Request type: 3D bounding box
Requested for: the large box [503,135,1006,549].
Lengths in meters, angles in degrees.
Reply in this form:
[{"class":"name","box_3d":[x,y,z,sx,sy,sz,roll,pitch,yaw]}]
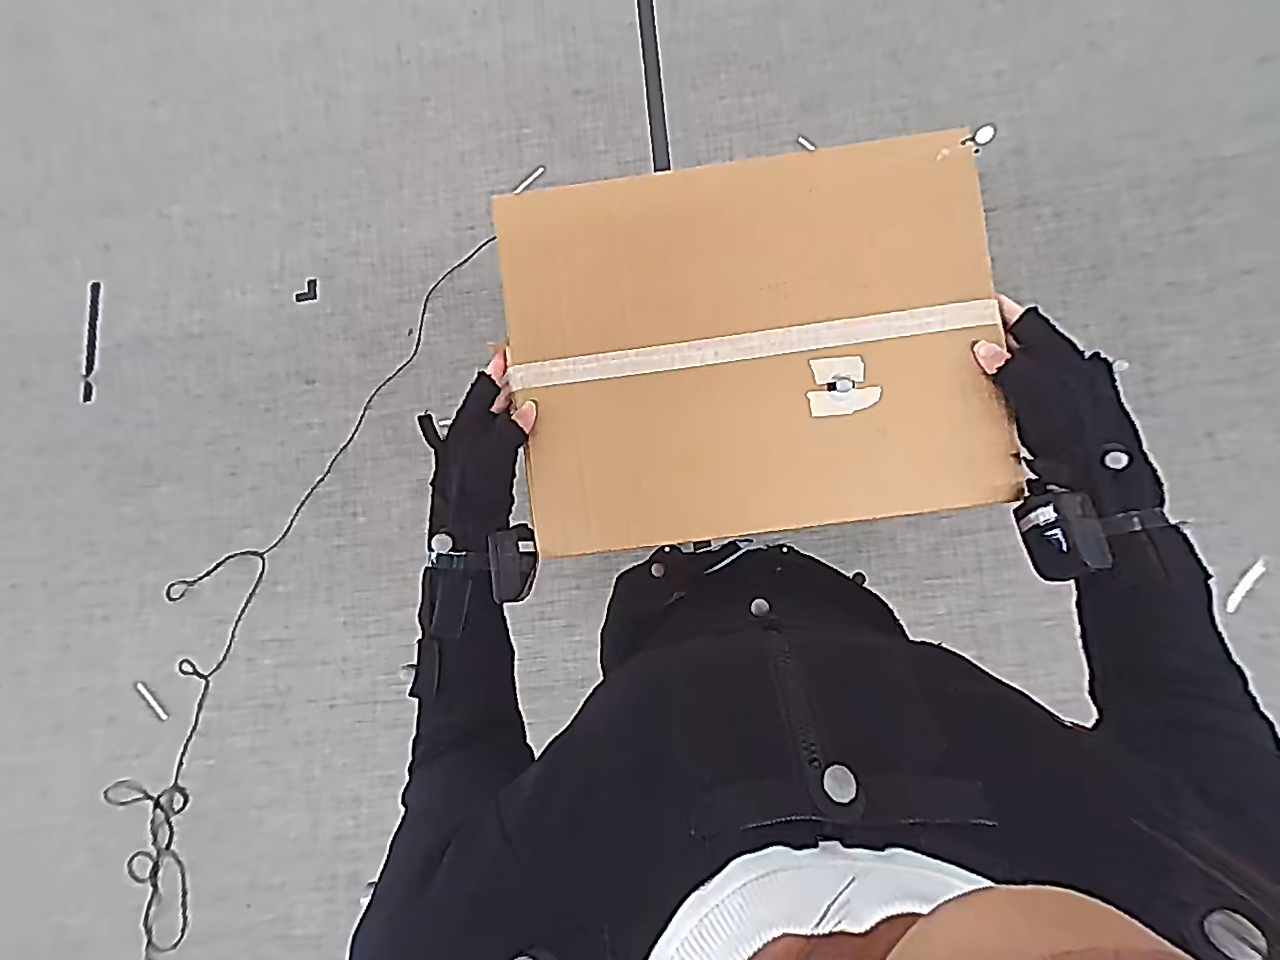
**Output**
[{"class":"large box","box_3d":[0.097,-0.115,0.614,0.408,0.320,0.320,-8,89,1]}]
